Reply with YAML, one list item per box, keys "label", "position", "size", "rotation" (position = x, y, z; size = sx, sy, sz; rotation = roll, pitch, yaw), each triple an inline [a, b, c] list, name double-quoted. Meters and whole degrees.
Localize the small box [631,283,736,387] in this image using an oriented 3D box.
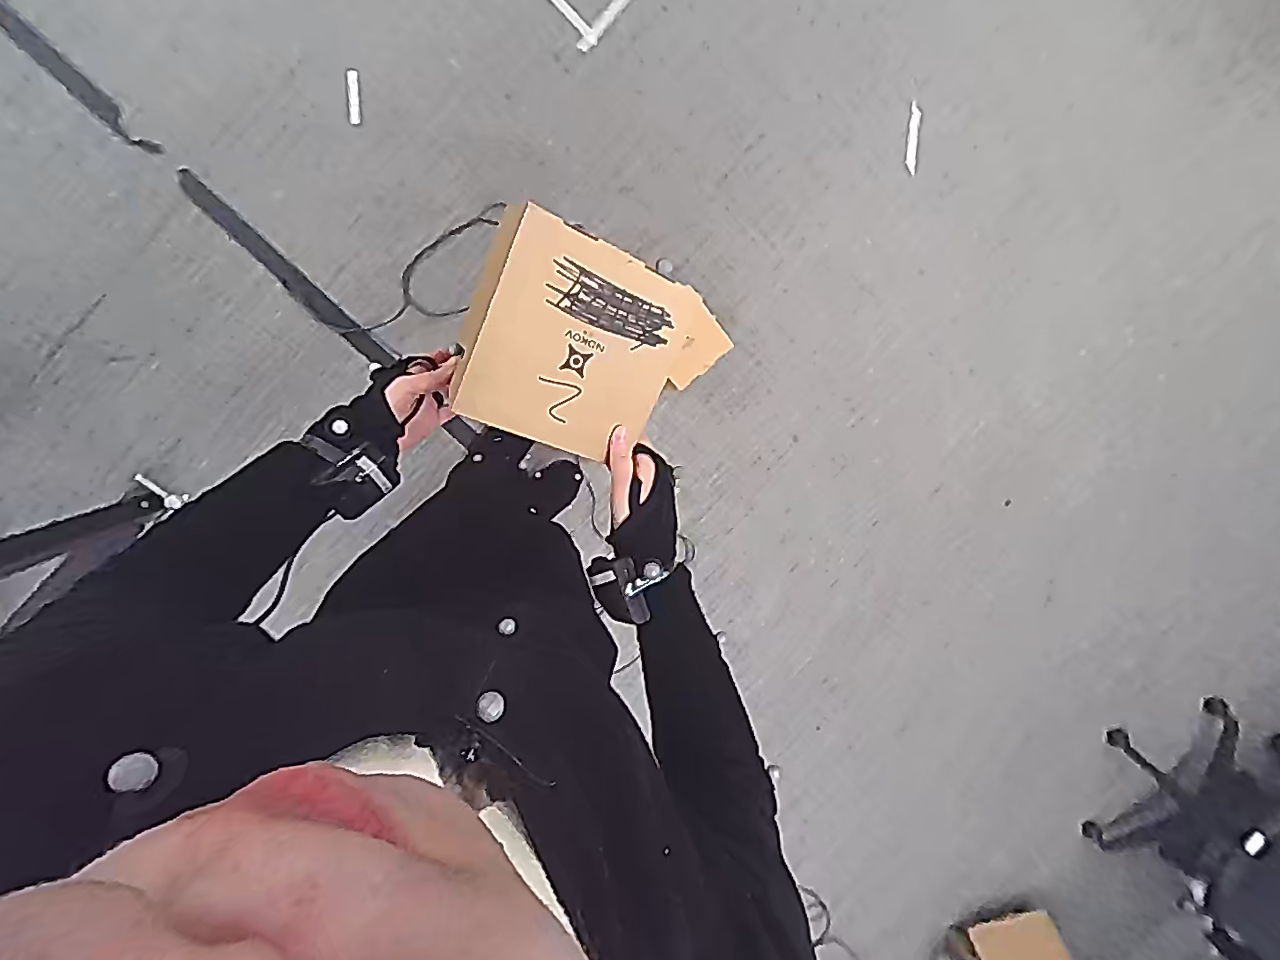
- label: "small box"
  position: [0.095, -0.339, 1.298]
  size: [0.168, 0.176, 0.179]
  rotation: [-40, 104, 2]
